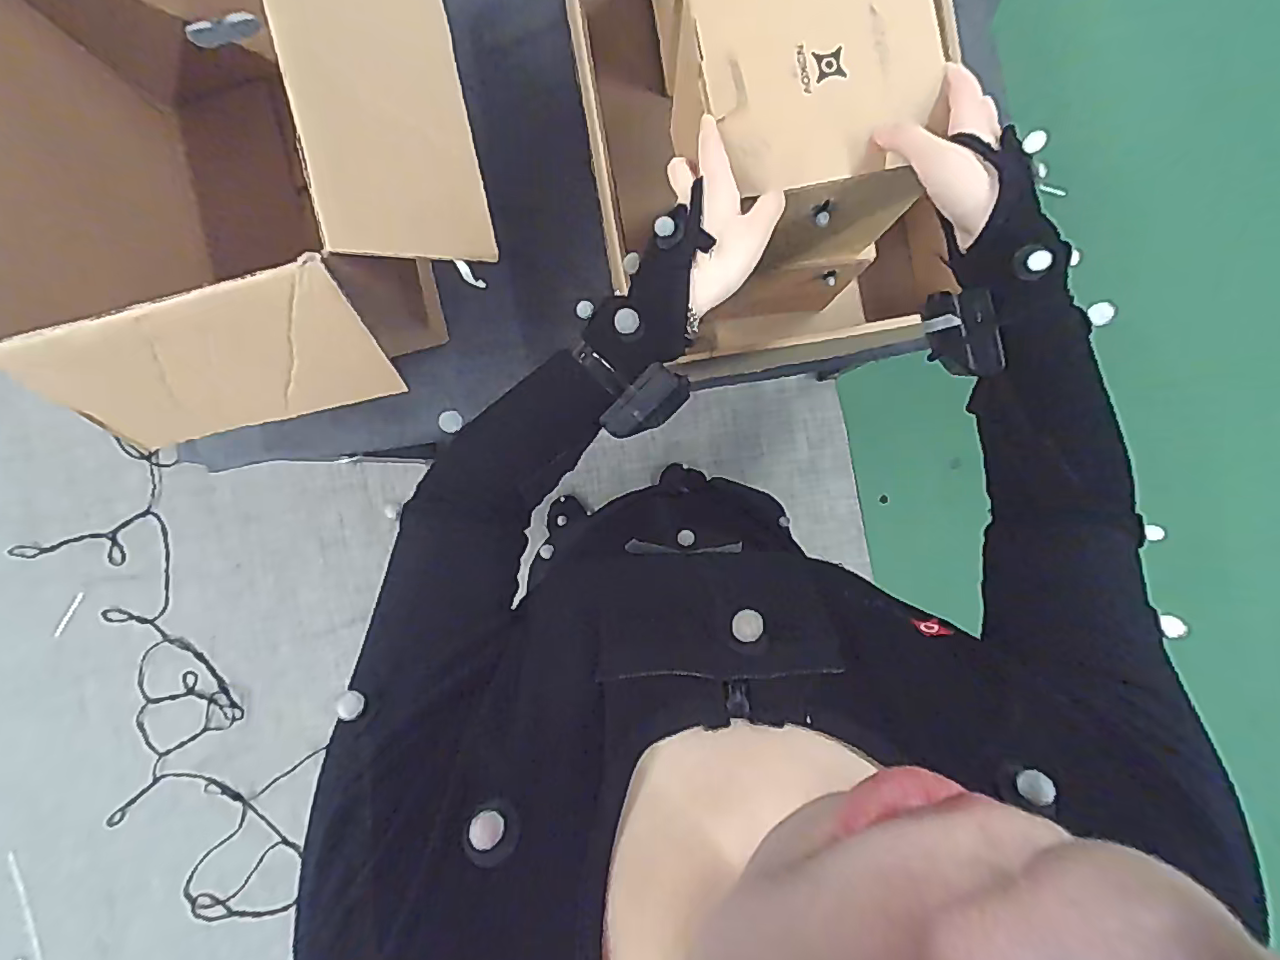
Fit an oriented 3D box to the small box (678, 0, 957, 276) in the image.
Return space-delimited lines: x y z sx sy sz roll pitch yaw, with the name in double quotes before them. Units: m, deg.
"small box" 0.133 -0.300 0.477 0.179 0.176 0.168 -12 92 -1
